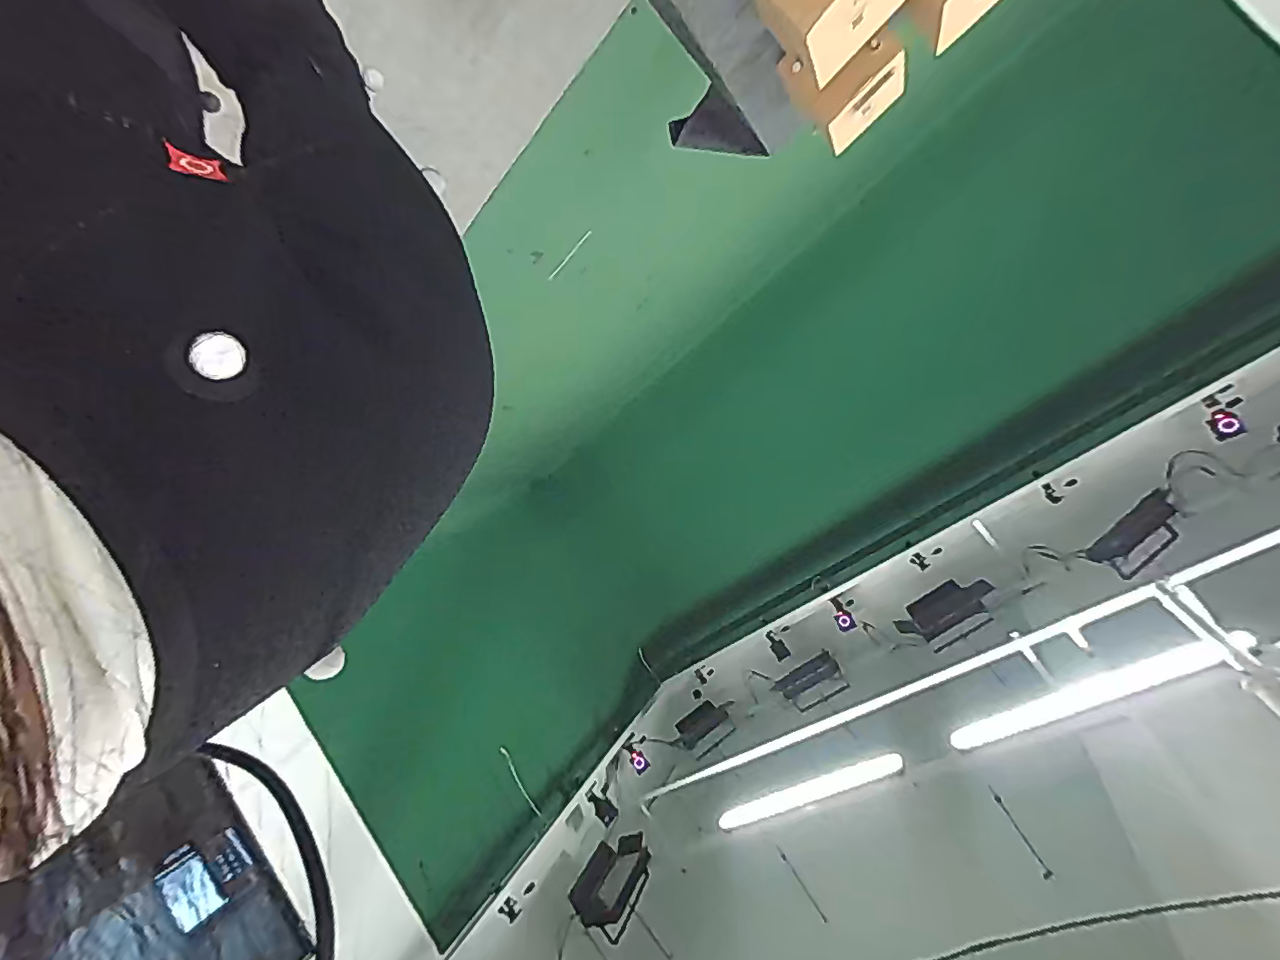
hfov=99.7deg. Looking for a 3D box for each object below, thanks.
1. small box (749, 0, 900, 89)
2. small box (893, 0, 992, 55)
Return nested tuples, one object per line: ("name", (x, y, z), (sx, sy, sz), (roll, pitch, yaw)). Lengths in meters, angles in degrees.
("small box", (0.277, -0.770, 0.833), (0.168, 0.176, 0.179), (-40, 171, 26))
("small box", (0.571, -0.956, 0.989), (0.179, 0.176, 0.168), (-38, 172, 24))
